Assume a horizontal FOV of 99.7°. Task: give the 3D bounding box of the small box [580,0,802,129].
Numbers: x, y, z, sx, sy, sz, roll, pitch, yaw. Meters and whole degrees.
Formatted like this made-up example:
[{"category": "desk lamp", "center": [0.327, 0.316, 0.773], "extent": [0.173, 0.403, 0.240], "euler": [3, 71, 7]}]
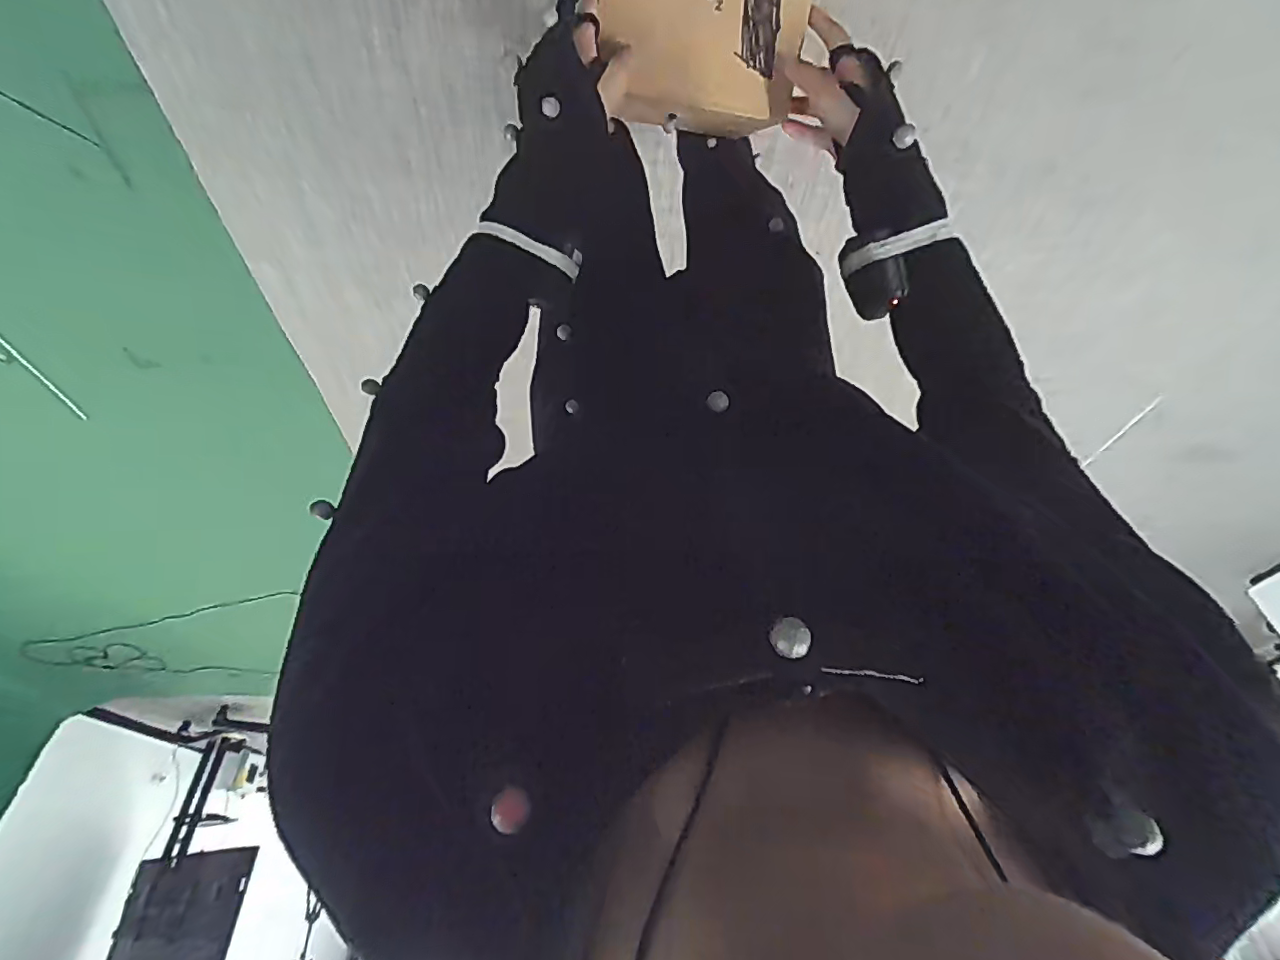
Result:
[{"category": "small box", "center": [0.040, -0.436, 0.496], "extent": [0.179, 0.176, 0.168], "euler": [5, 117, -8]}]
